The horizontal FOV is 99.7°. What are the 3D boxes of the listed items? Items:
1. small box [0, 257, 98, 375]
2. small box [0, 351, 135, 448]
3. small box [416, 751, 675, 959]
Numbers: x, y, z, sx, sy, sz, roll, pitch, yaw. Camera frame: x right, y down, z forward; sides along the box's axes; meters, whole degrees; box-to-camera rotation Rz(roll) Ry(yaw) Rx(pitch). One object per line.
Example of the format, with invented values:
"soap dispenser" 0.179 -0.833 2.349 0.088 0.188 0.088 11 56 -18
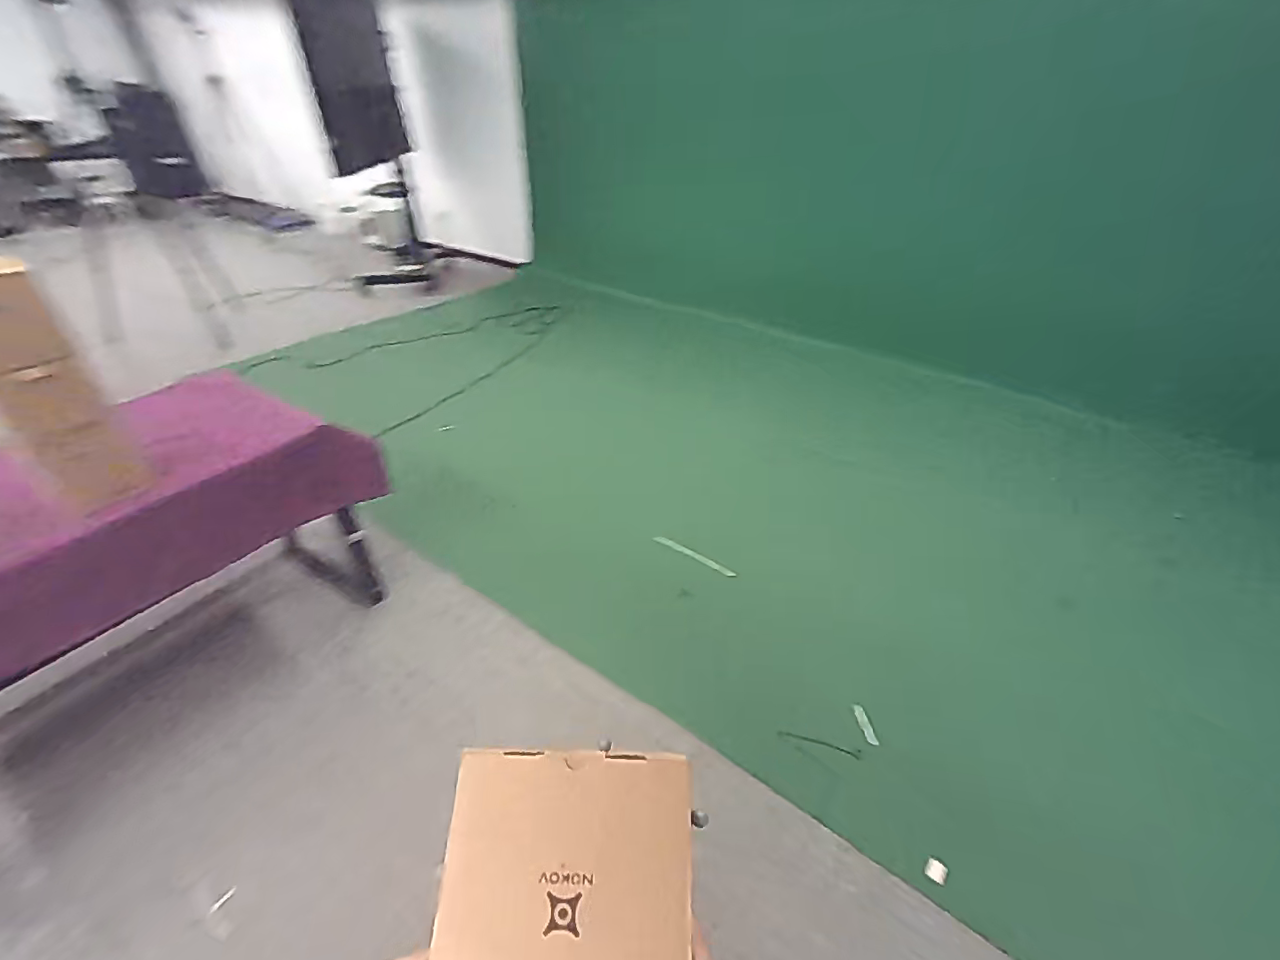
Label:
"small box" -1.239 -0.319 1.057 0.168 0.176 0.179 23 42 25
"small box" -1.247 -0.187 1.156 0.179 0.176 0.168 21 41 26
"small box" -0.057 0.312 0.422 0.168 0.176 0.179 0 63 0
